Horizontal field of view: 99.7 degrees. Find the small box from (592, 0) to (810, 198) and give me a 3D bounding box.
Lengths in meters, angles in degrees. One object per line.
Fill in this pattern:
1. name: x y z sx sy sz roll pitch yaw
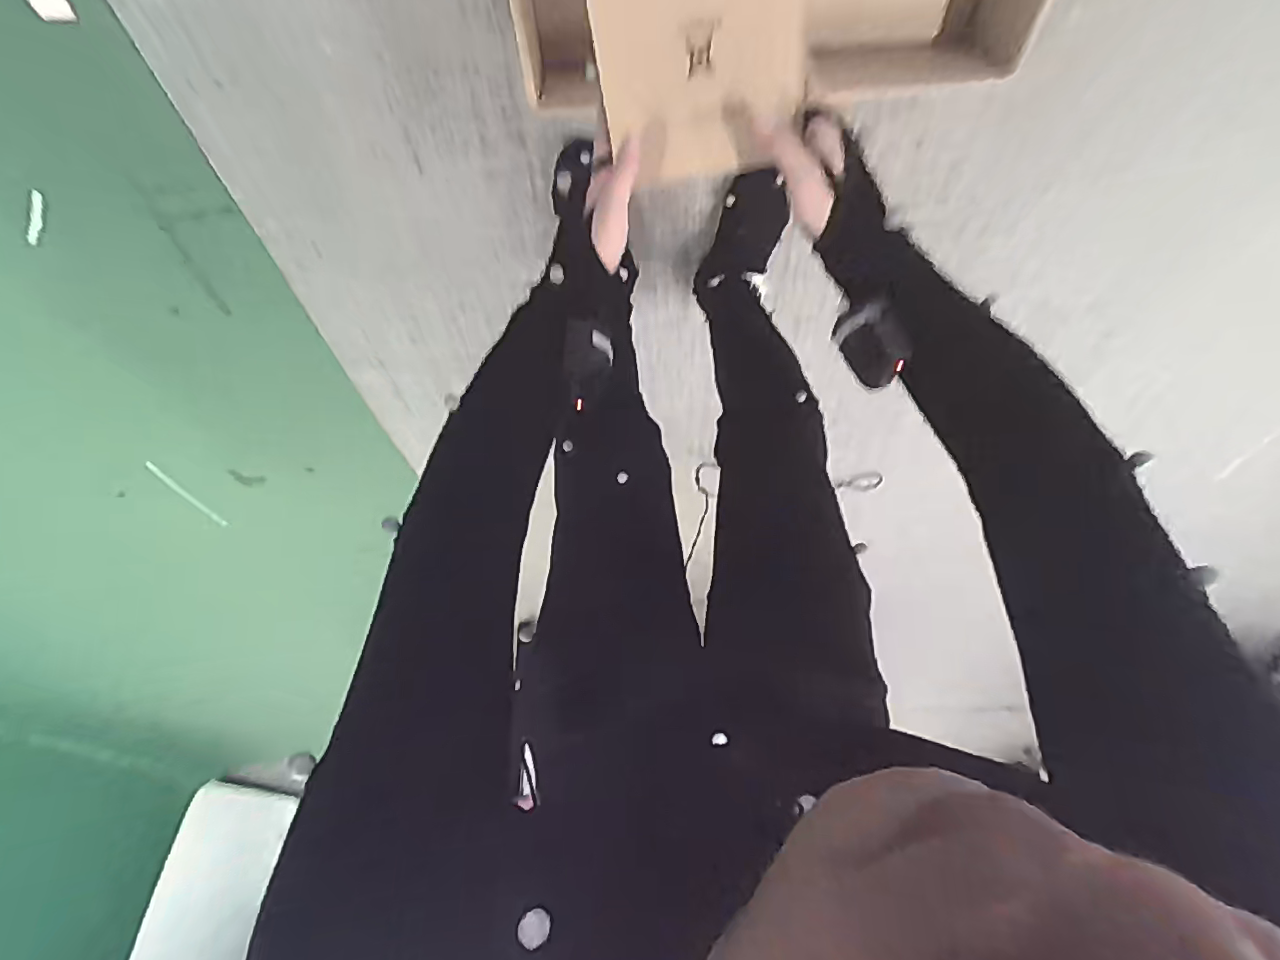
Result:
1. small box: 0.052 -0.374 0.492 0.168 0.176 0.179 -7 124 7
